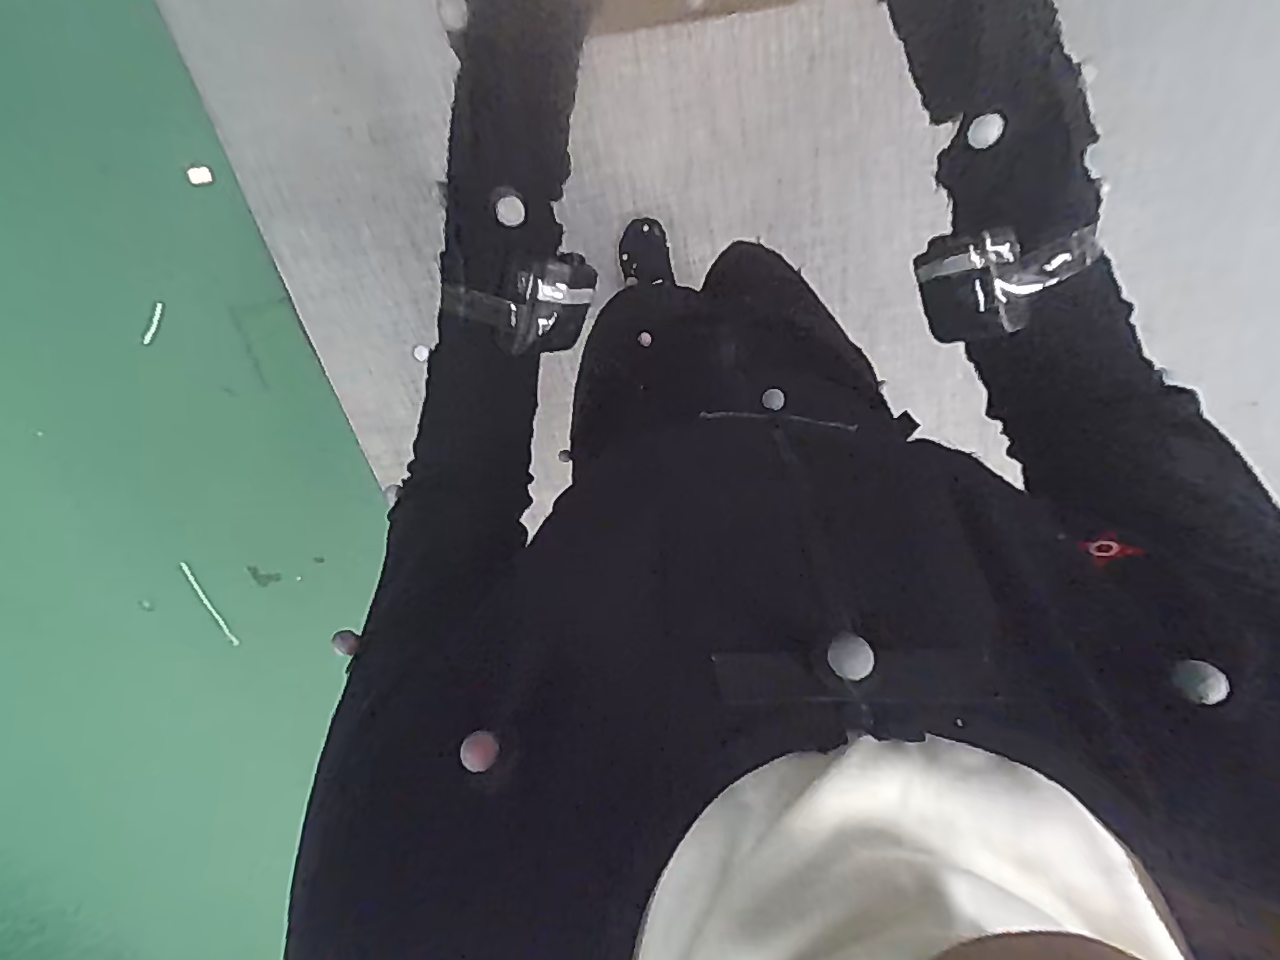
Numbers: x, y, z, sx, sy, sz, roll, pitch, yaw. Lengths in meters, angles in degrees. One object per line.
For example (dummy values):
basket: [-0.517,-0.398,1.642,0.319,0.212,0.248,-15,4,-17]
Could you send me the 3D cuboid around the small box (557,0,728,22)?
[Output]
small box: [0.020,-0.365,0.277,0.179,0.176,0.168,-7,121,2]
